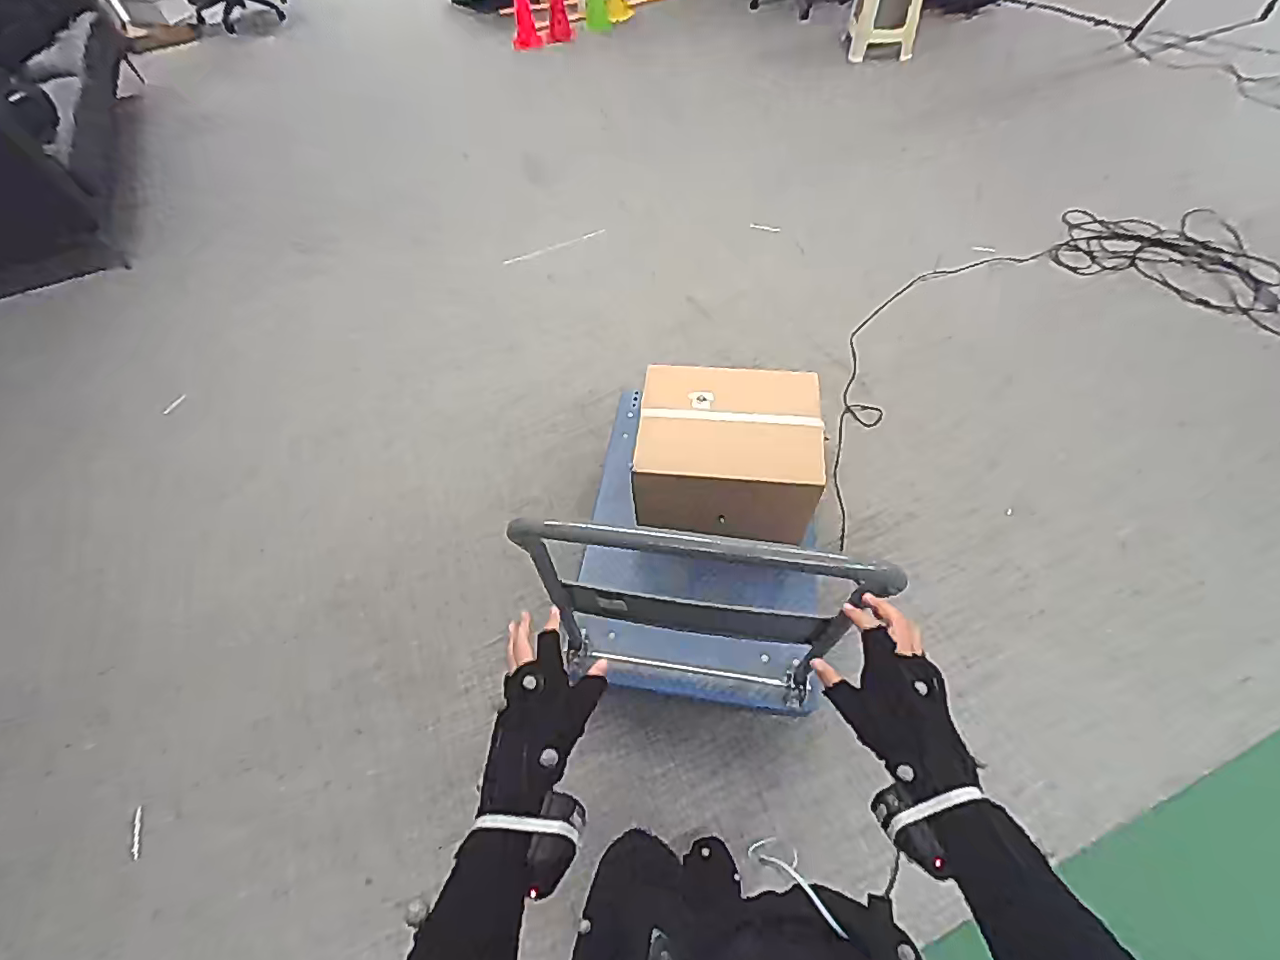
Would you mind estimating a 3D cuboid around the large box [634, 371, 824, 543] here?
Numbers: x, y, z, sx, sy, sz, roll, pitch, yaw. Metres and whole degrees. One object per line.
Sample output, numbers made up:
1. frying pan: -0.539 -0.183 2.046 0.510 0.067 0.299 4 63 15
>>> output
1. large box: 0.210 -0.051 1.340 0.408 0.320 0.320 3 57 7
